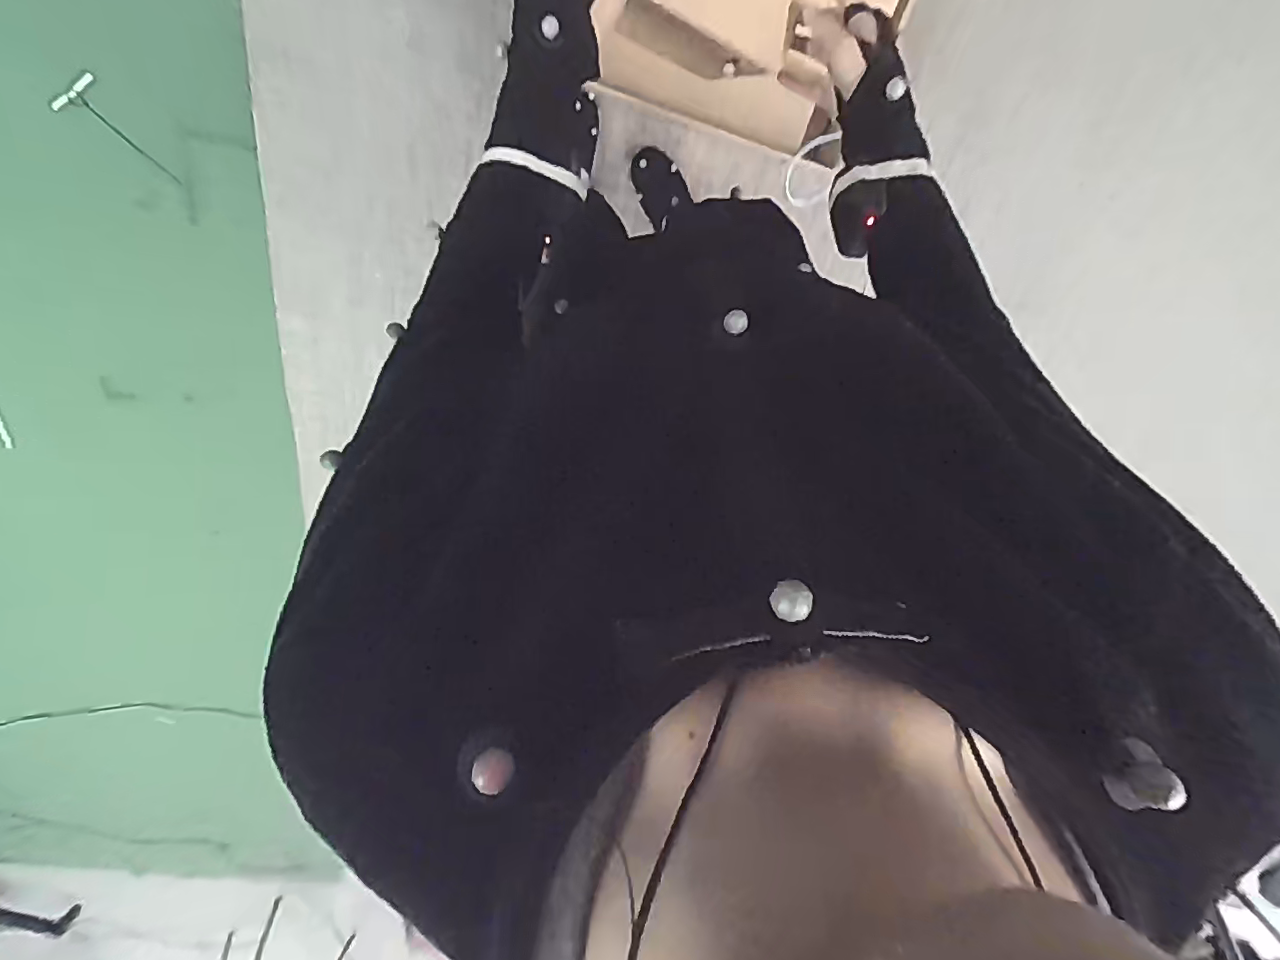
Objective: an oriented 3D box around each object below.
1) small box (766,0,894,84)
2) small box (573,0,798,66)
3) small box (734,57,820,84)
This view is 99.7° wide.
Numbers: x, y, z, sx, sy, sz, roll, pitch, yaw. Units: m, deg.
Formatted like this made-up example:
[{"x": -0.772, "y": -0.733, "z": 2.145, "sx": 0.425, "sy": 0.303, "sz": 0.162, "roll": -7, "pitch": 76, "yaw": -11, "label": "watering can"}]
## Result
[{"x": 0.284, "y": -0.747, "z": 0.842, "sx": 0.168, "sy": 0.176, "sz": 0.179, "roll": 13, "pitch": 123, "yaw": -11, "label": "small box"}, {"x": 0.049, "y": -0.510, "z": 0.497, "sx": 0.179, "sy": 0.176, "sz": 0.168, "roll": 6, "pitch": 120, "yaw": -26, "label": "small box"}, {"x": 0.276, "y": -0.844, "z": 0.973, "sx": 0.168, "sy": 0.176, "sz": 0.179, "roll": 14, "pitch": 124, "yaw": -10, "label": "small box"}]
